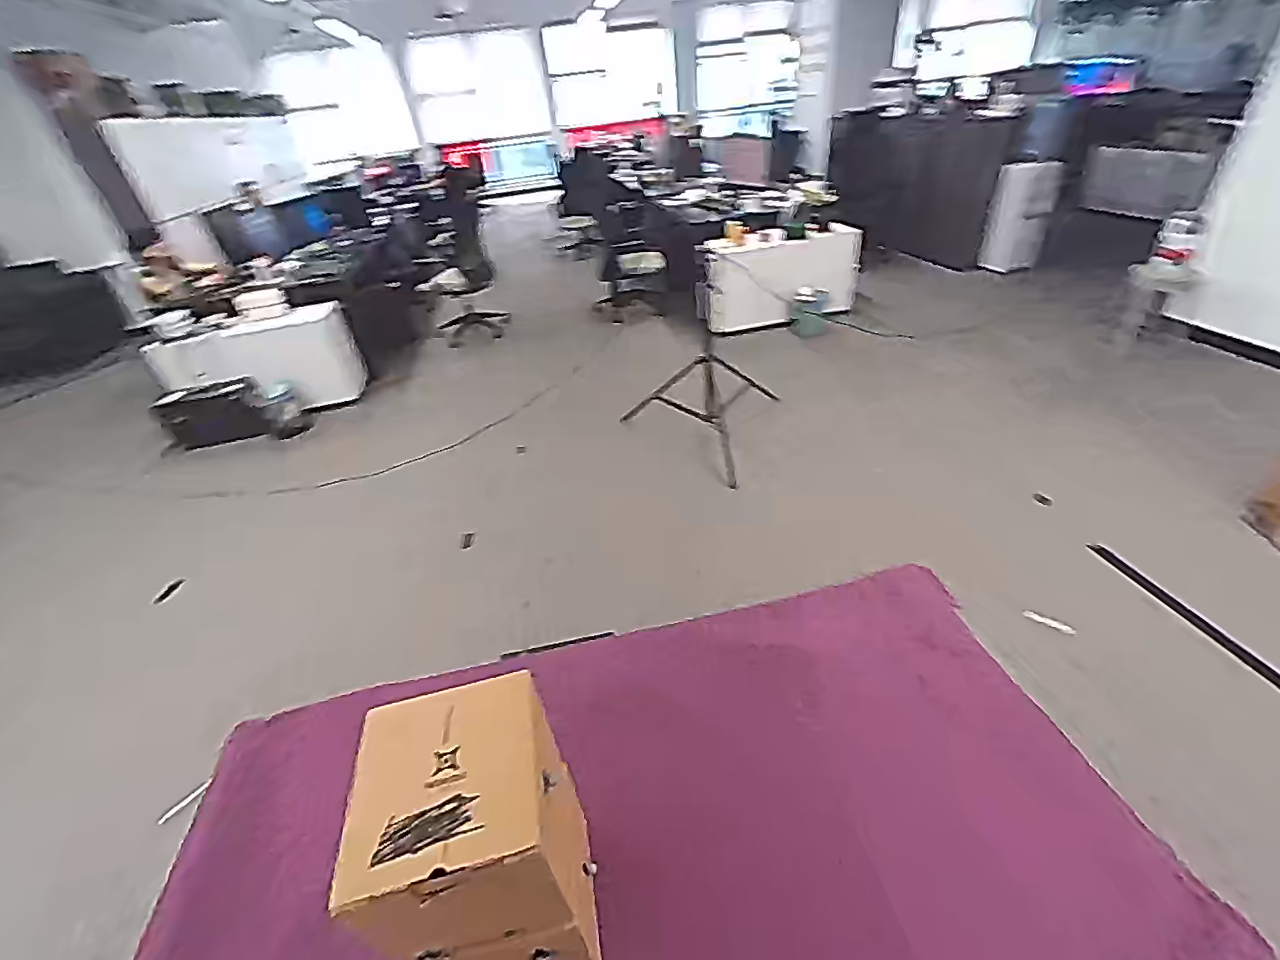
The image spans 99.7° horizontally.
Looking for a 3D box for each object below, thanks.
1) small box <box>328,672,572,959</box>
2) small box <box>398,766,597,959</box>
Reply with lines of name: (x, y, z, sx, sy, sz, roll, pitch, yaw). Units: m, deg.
small box: (-0.169, 0.330, 0.531, 0.168, 0.176, 0.179, -13, 35, -8)
small box: (-0.149, 0.467, 0.620, 0.179, 0.176, 0.168, -12, 35, -6)
